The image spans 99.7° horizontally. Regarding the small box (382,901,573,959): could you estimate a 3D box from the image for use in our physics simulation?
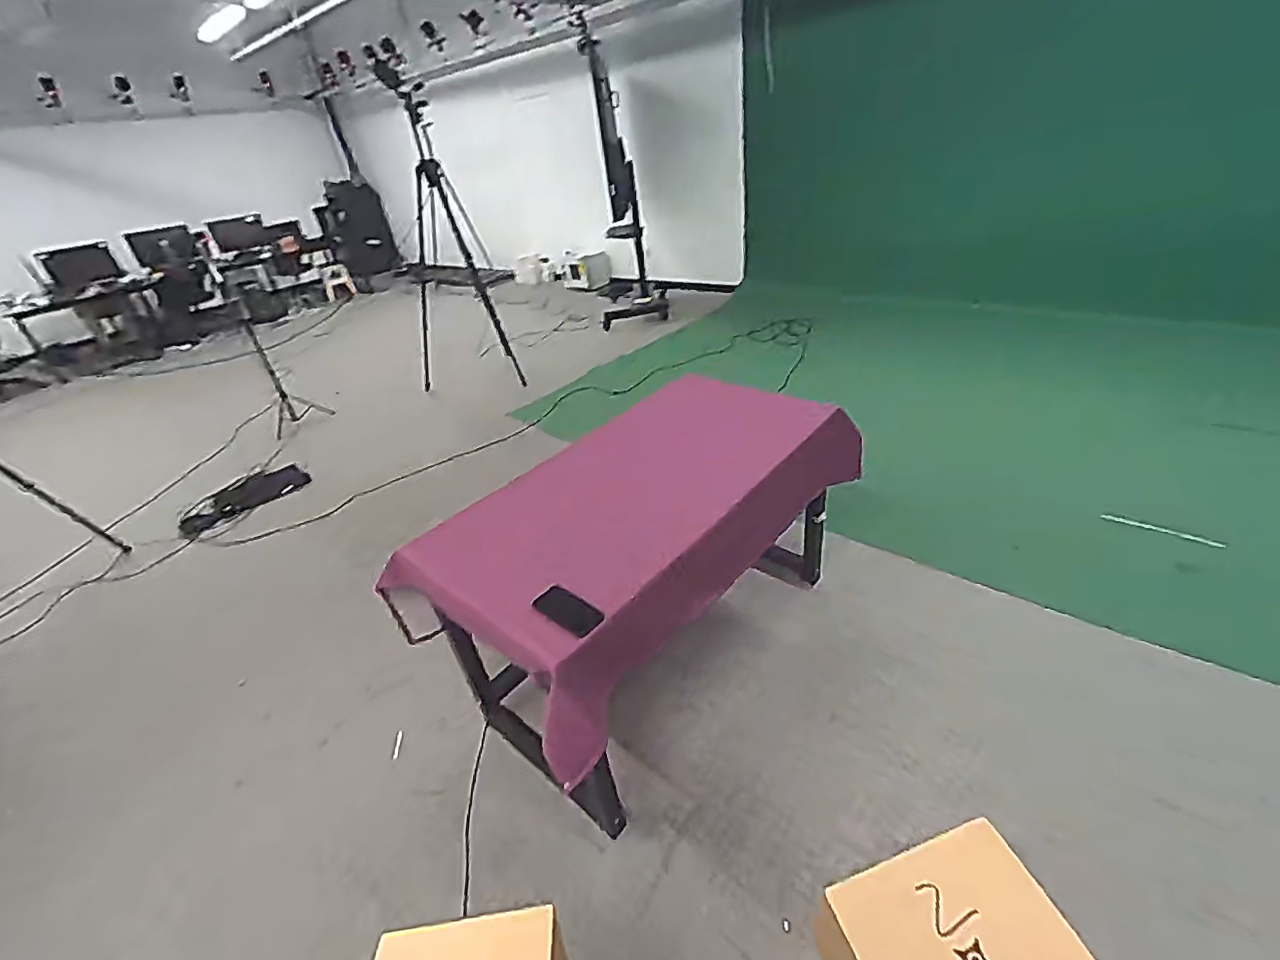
[{"bbox_3d":[-0.142,0.521,0.471,0.168,0.176,0.179,-7,22,-2],"label":"small box"}]
